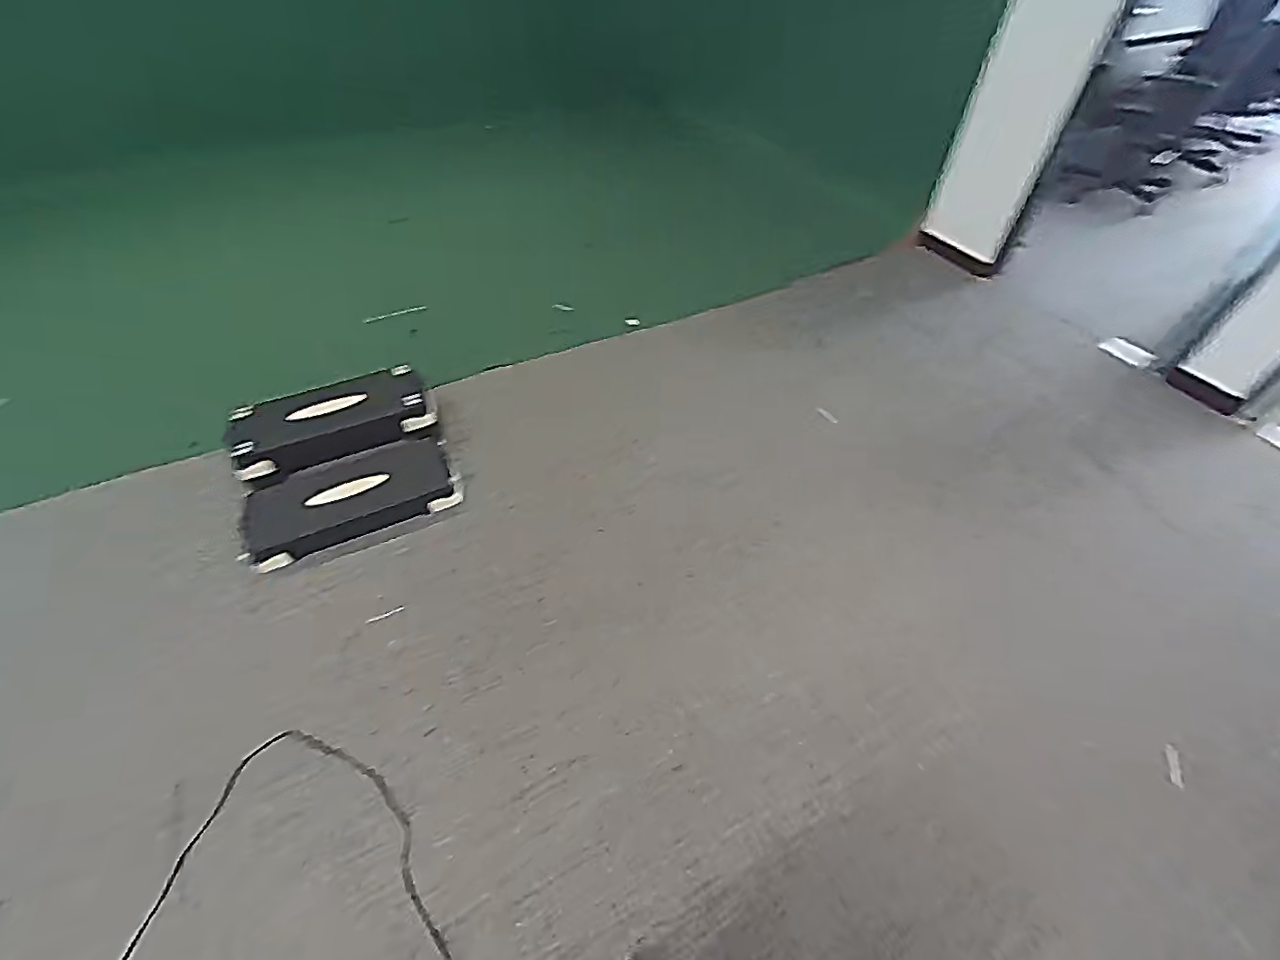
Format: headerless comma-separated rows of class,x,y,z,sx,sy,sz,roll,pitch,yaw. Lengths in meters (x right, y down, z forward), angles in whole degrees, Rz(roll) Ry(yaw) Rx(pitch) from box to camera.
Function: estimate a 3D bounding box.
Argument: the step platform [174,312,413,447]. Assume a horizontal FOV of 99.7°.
step platform,-1.156,-0.355,1.863,0.684,0.204,0.286,-21,53,-16
